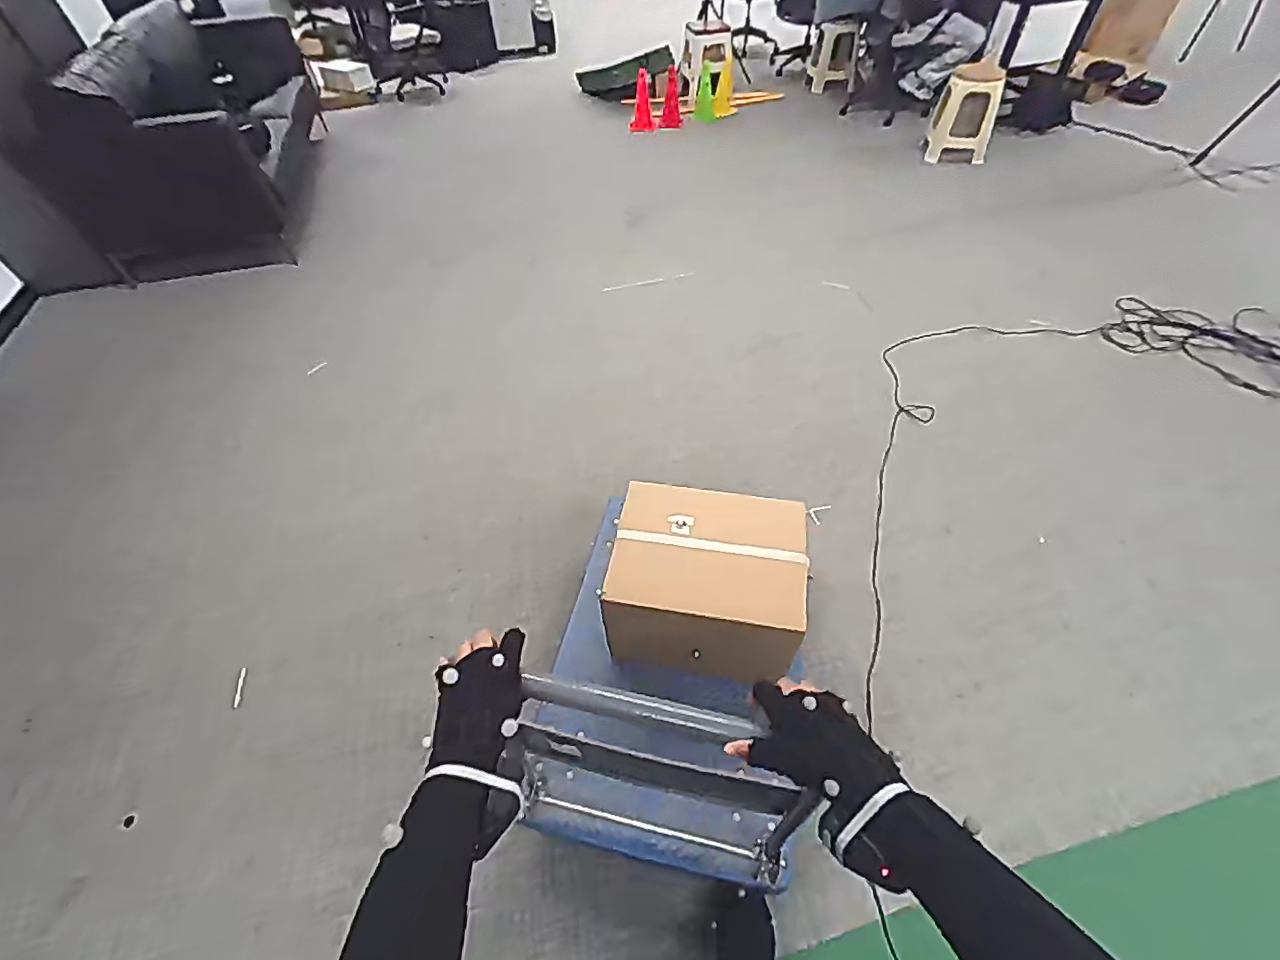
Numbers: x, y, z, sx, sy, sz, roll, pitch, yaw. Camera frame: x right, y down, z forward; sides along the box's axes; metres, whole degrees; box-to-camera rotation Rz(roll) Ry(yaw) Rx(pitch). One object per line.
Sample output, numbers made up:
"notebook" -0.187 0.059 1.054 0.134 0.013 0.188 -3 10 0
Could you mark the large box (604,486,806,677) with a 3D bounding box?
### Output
"large box" 0.154 0.240 1.266 0.408 0.320 0.320 5 50 8
